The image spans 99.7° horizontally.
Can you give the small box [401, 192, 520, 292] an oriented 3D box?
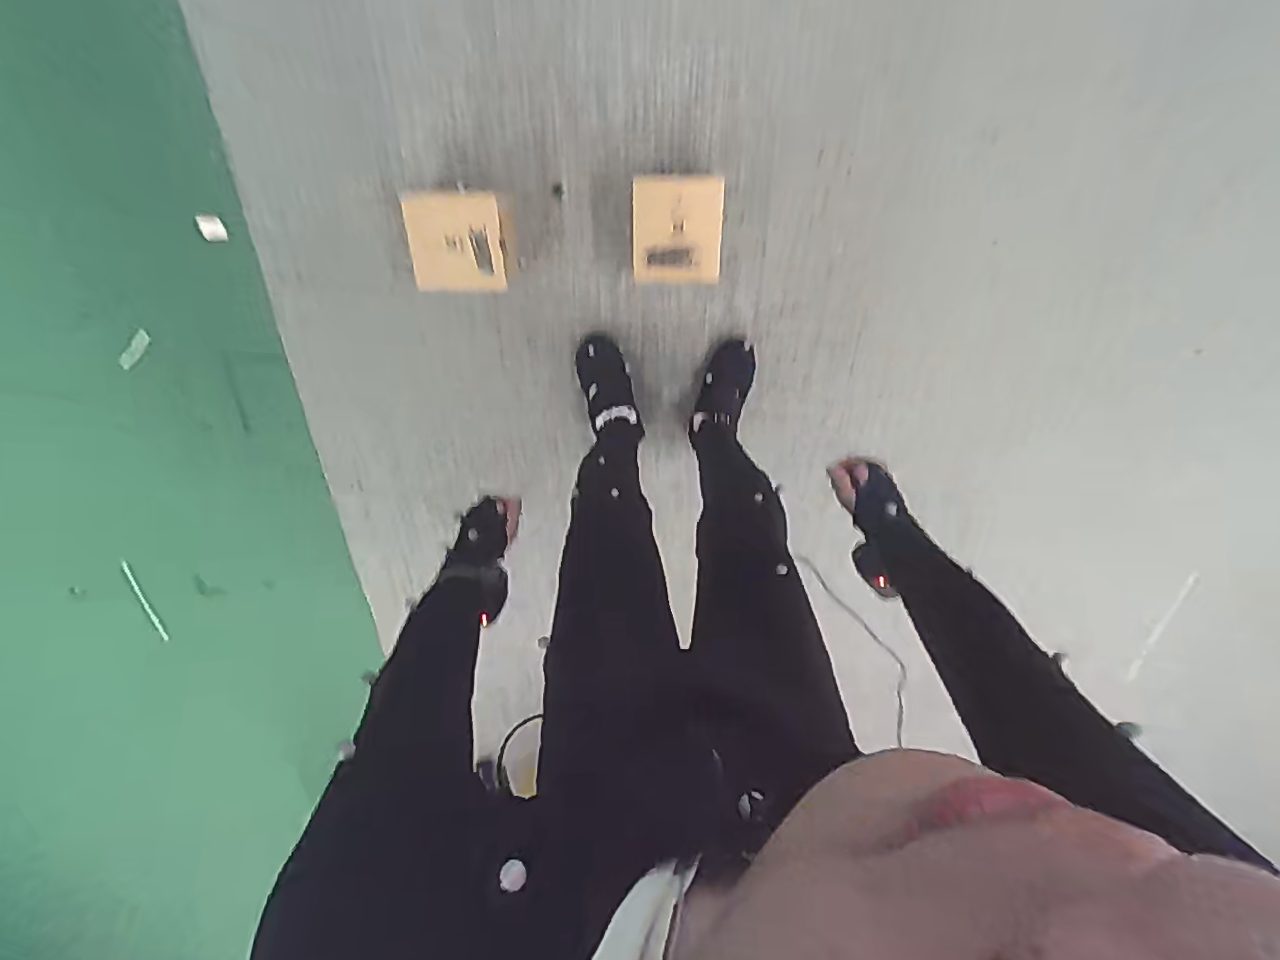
[{"bbox_3d":[-0.337,-0.469,1.056,0.179,0.176,0.168,0,118,-1],"label":"small box"}]
